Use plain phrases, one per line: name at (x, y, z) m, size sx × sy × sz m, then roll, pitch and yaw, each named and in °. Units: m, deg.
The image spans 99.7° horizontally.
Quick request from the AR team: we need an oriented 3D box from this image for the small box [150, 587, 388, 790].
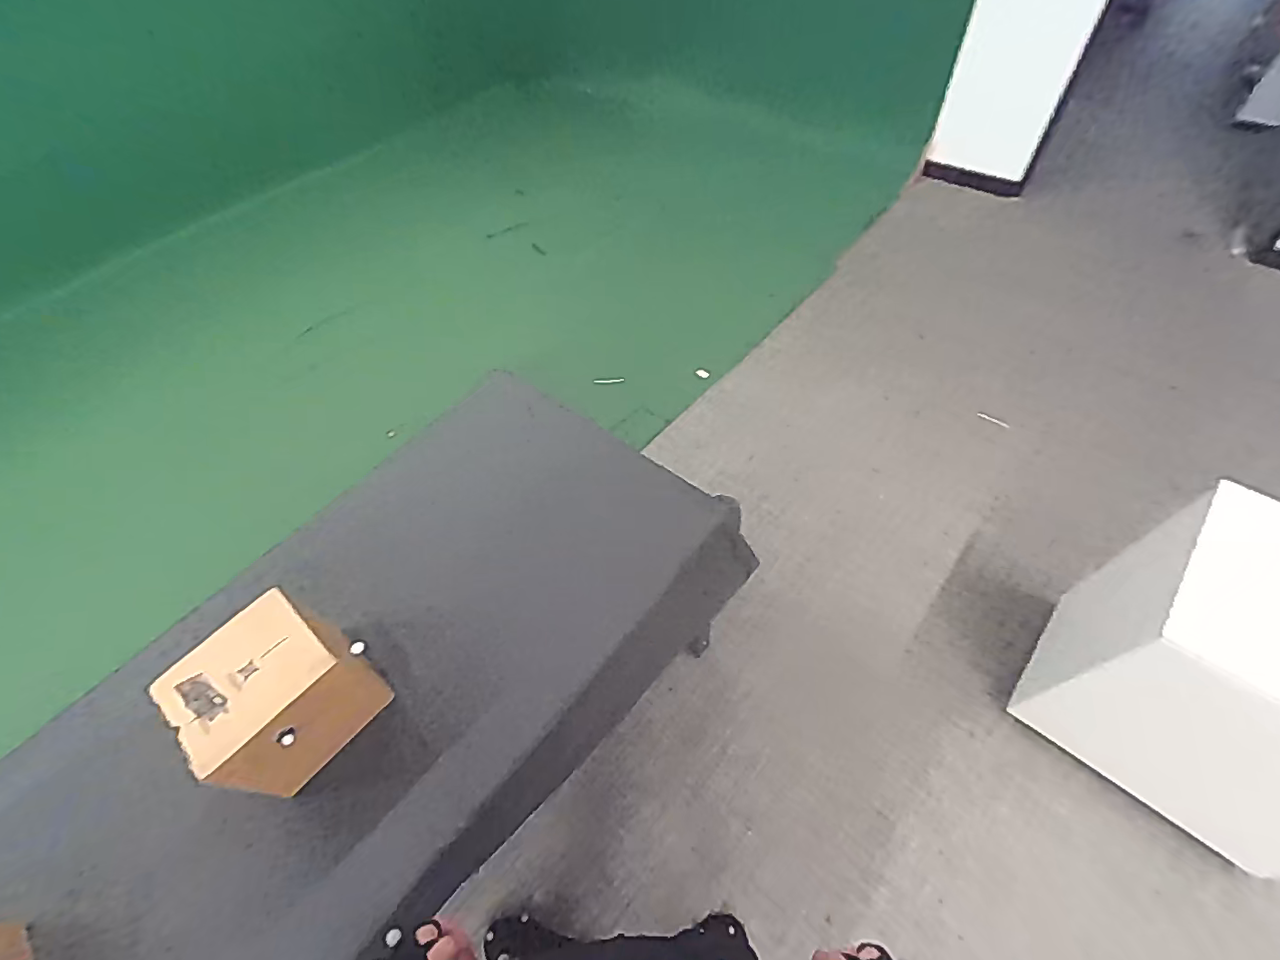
small box at (-0.486, 0.287, 0.734) m, size 0.168 × 0.176 × 0.179 m, roll 33°, pitch 64°, yaw 25°
